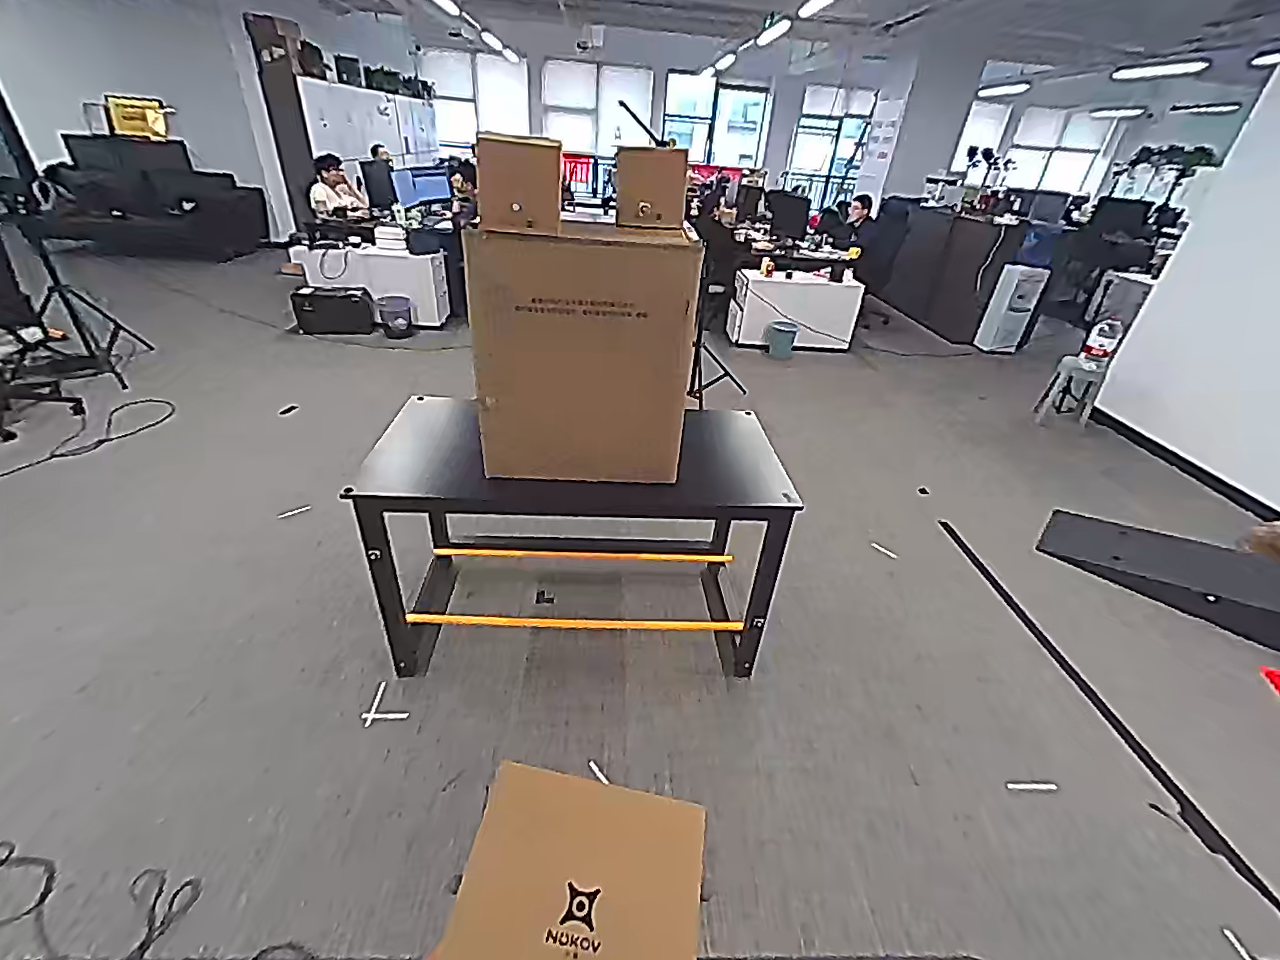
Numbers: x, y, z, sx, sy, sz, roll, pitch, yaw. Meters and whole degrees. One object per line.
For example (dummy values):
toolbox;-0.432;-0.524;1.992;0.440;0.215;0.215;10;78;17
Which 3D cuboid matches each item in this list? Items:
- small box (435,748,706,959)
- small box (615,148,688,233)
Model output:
small box;-0.052;0.345;0.420;0.168;0.176;0.179;12;42;2
small box;0.023;-0.713;1.330;0.168;0.176;0.179;1;31;-2
